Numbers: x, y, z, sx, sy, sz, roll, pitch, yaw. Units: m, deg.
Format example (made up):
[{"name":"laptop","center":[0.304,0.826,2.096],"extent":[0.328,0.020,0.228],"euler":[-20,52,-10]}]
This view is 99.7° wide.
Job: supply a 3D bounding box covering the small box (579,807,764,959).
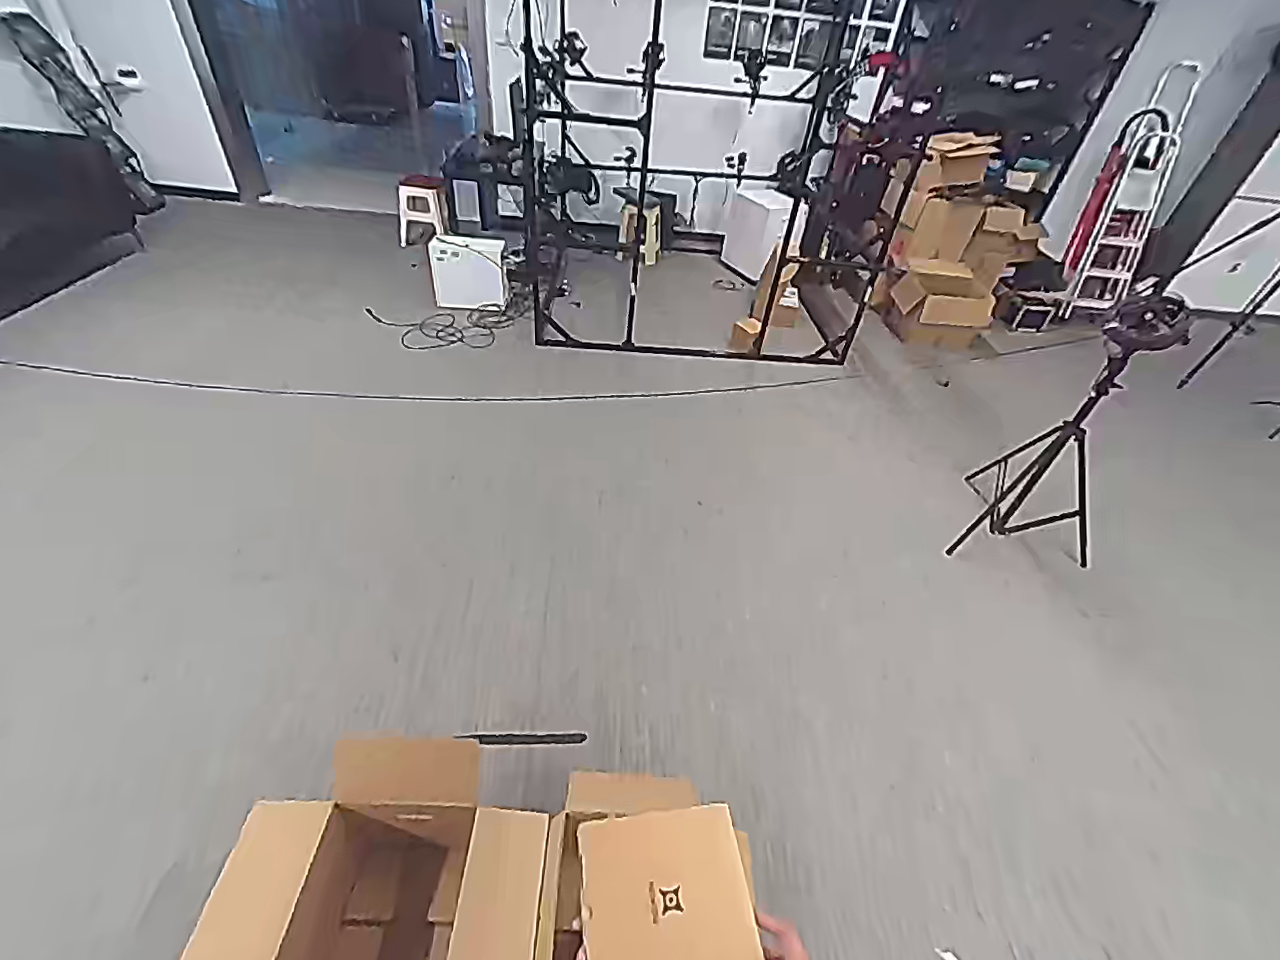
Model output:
[{"name":"small box","center":[0.025,0.495,0.607],"extent":[0.179,0.176,0.168],"euler":[-5,42,-7]}]
